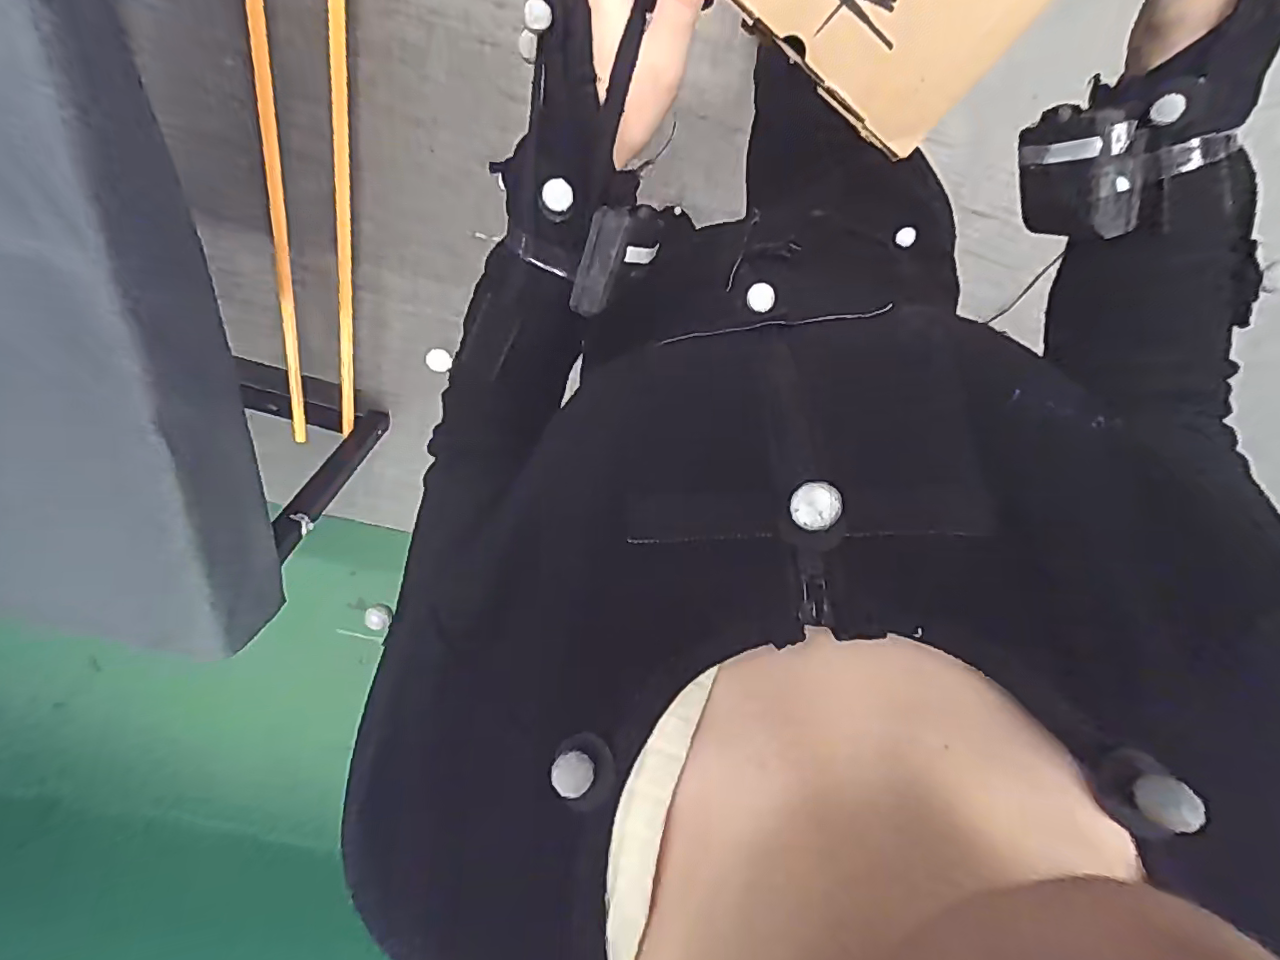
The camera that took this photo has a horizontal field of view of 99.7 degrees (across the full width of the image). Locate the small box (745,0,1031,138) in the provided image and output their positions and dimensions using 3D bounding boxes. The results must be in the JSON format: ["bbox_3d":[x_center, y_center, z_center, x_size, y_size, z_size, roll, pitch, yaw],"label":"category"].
[{"bbox_3d":[0.116,-0.312,0.241,0.168,0.176,0.179,23,137,-25],"label":"small box"}]
